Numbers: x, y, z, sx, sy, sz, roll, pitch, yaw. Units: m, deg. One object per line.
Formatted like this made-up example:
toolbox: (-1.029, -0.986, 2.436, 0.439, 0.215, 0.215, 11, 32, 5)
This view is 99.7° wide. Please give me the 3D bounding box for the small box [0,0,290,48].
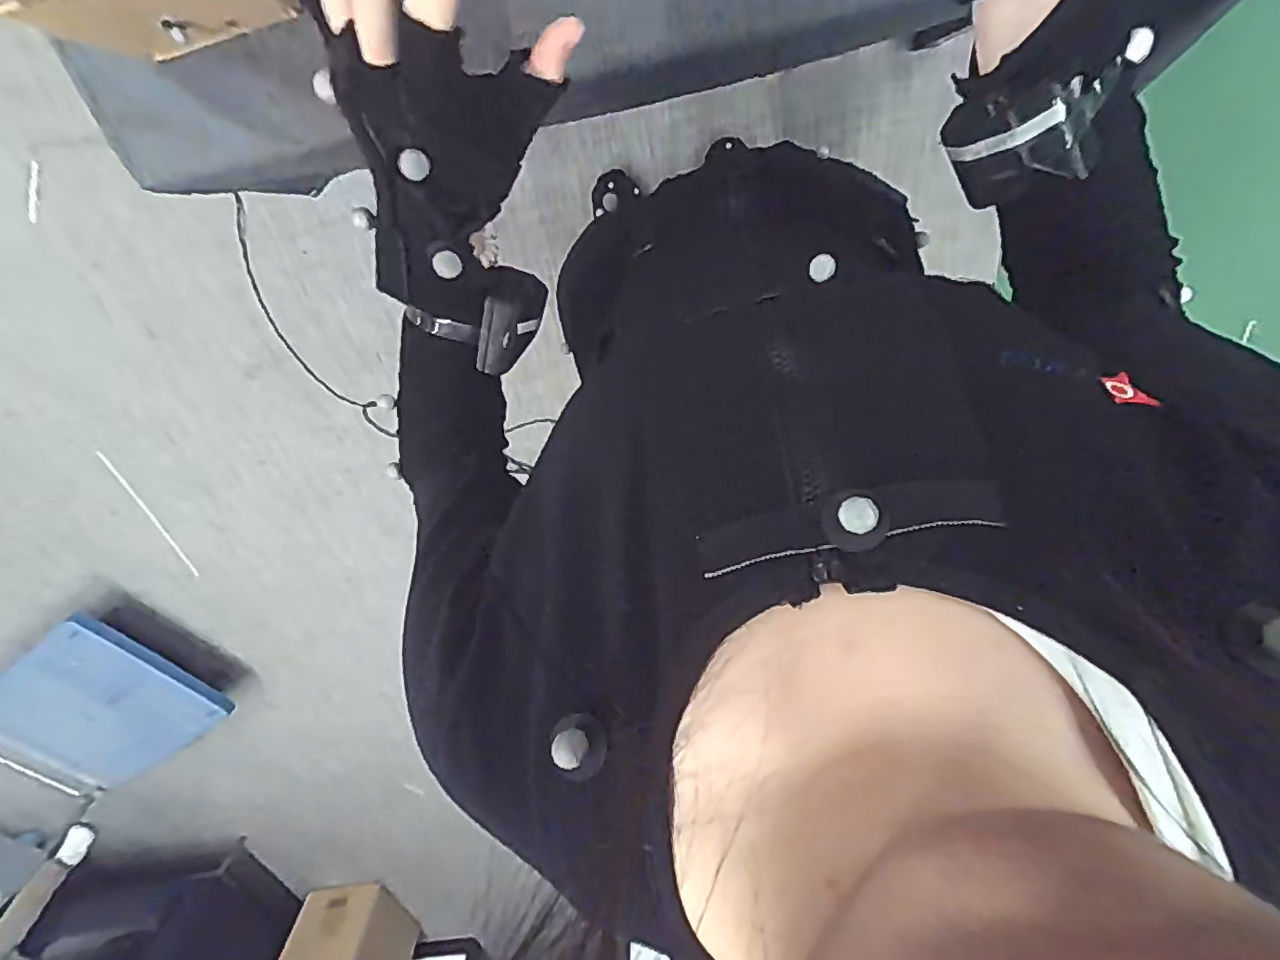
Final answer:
small box: (-0.426, -0.476, 0.417, 0.168, 0.176, 0.179, -12, 119, 6)
